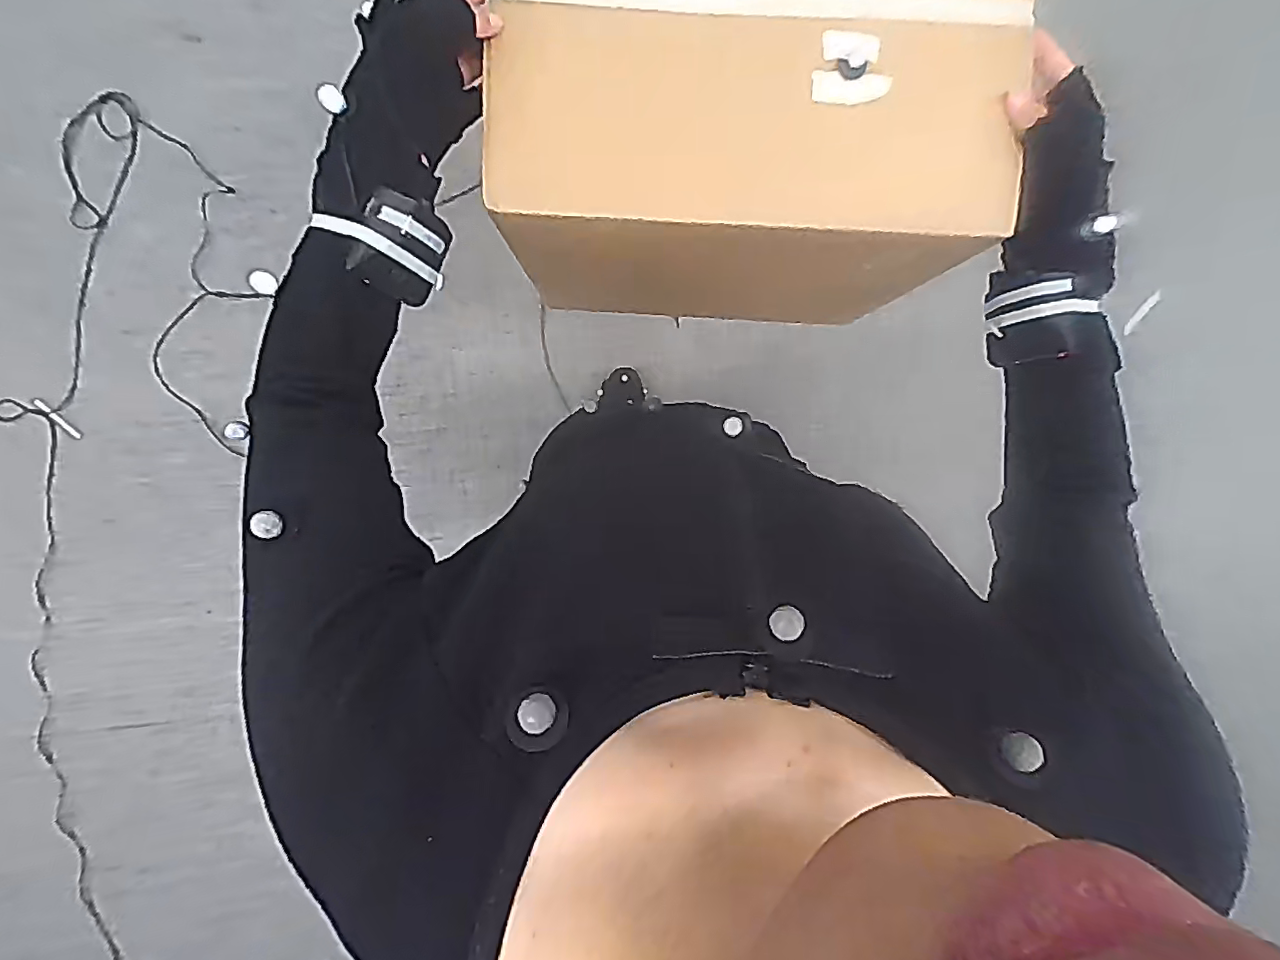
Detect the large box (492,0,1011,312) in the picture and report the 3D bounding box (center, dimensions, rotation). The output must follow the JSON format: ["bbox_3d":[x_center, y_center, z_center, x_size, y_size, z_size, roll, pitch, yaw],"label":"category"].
[{"bbox_3d":[0.081,-0.370,0.560,0.408,0.320,0.320,2,94,-2],"label":"large box"}]
